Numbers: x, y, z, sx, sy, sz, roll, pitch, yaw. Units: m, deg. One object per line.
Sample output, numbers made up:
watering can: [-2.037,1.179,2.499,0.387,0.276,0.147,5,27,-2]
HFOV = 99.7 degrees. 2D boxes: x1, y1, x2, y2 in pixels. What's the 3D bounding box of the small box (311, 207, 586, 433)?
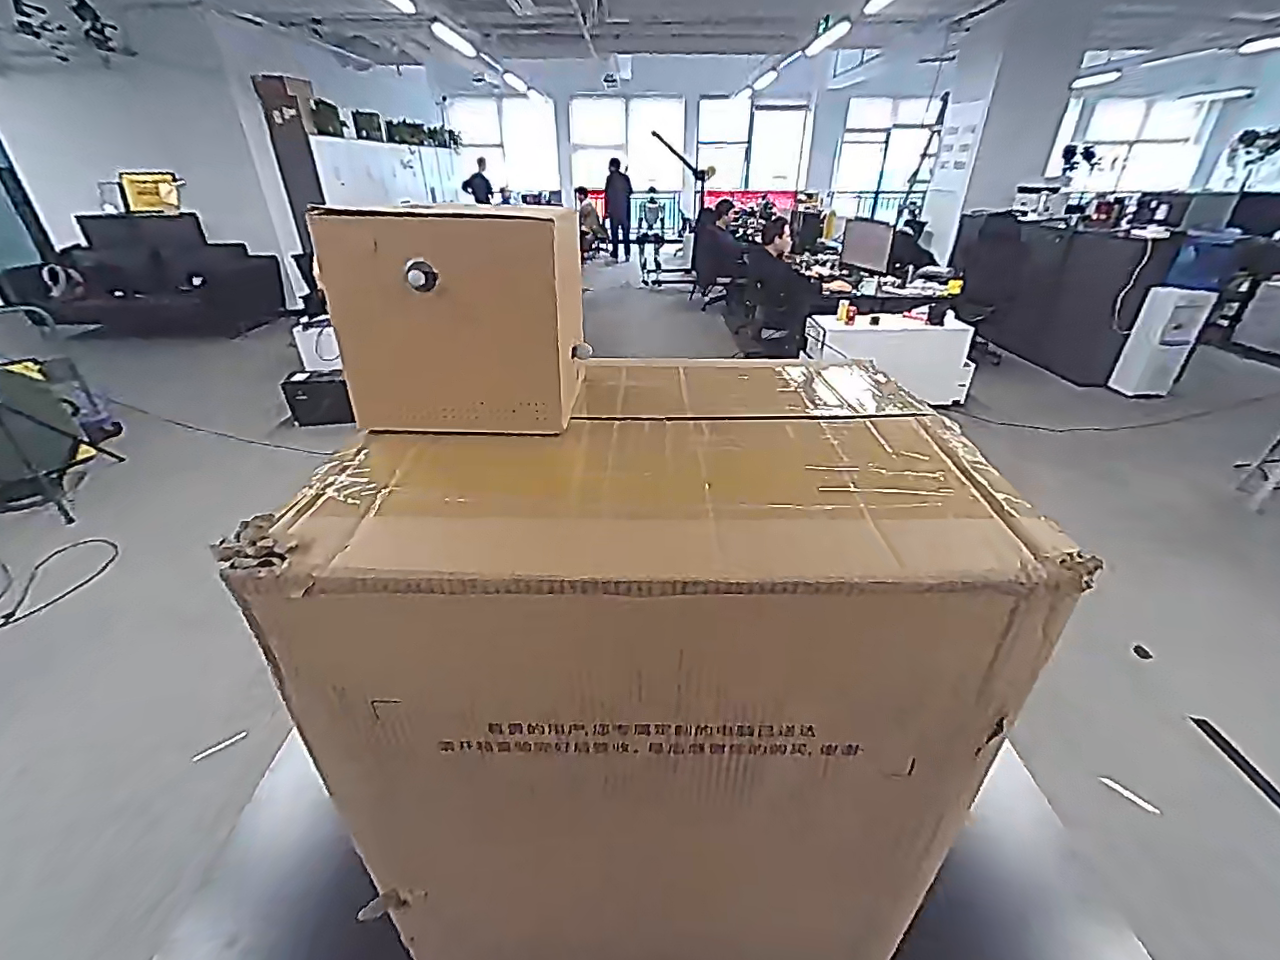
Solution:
small box: [-0.145,-0.148,0.484,0.179,0.176,0.168,1,28,0]
